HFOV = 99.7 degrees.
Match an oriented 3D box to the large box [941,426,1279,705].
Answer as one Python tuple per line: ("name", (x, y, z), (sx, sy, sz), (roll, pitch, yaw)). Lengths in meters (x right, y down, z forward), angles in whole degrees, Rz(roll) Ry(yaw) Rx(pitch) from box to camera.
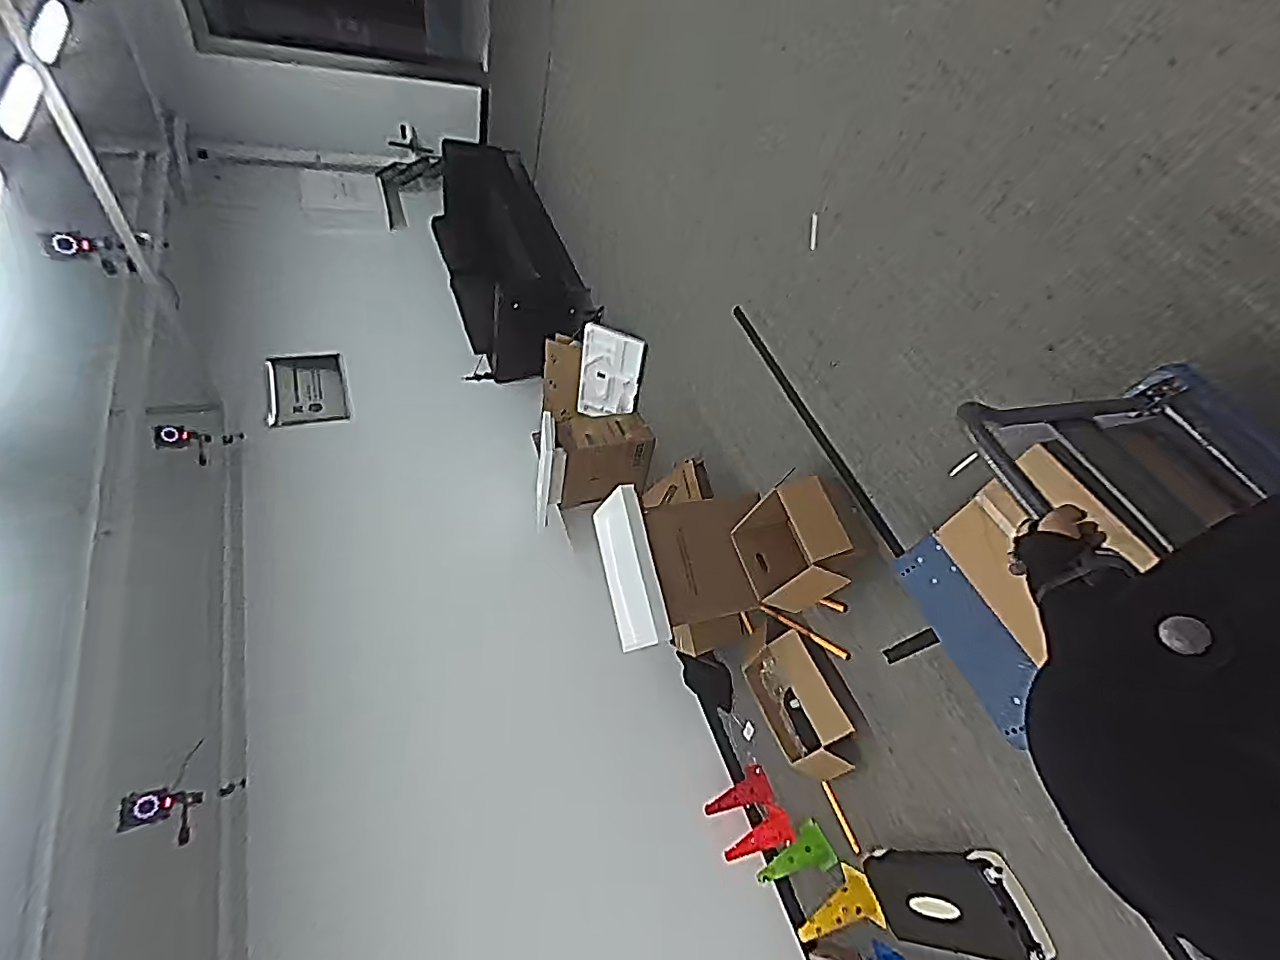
("large box", (0.911, 0.152, 1.048), (0.320, 0.320, 0.408), (110, 144, -48))
